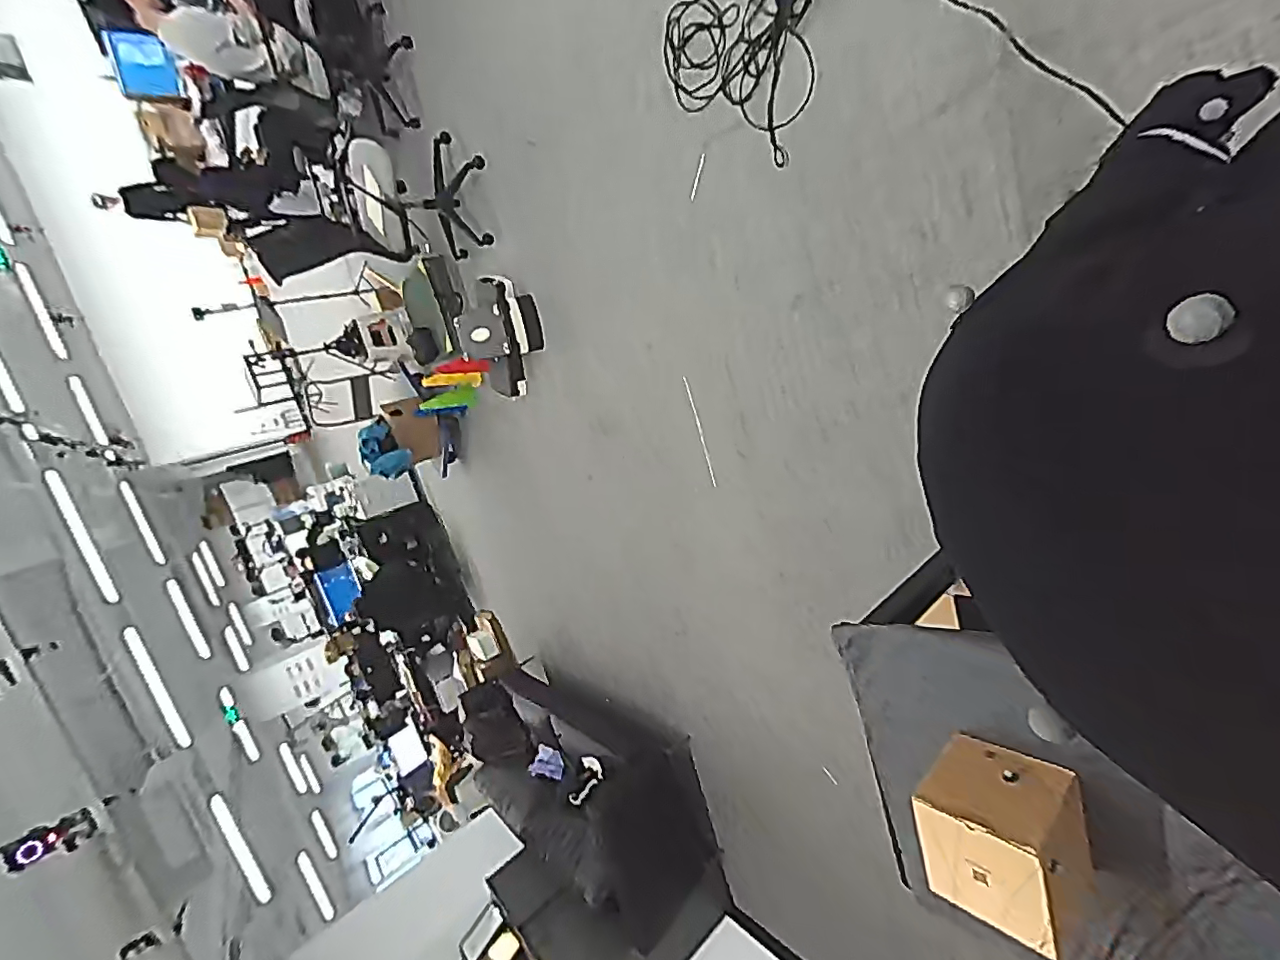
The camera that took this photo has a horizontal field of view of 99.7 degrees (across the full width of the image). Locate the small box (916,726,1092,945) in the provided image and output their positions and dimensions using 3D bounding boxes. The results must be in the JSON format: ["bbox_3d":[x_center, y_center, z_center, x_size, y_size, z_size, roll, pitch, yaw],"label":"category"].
[{"bbox_3d":[0.549,0.516,0.814,0.168,0.176,0.179,-2,108,53],"label":"small box"}]
